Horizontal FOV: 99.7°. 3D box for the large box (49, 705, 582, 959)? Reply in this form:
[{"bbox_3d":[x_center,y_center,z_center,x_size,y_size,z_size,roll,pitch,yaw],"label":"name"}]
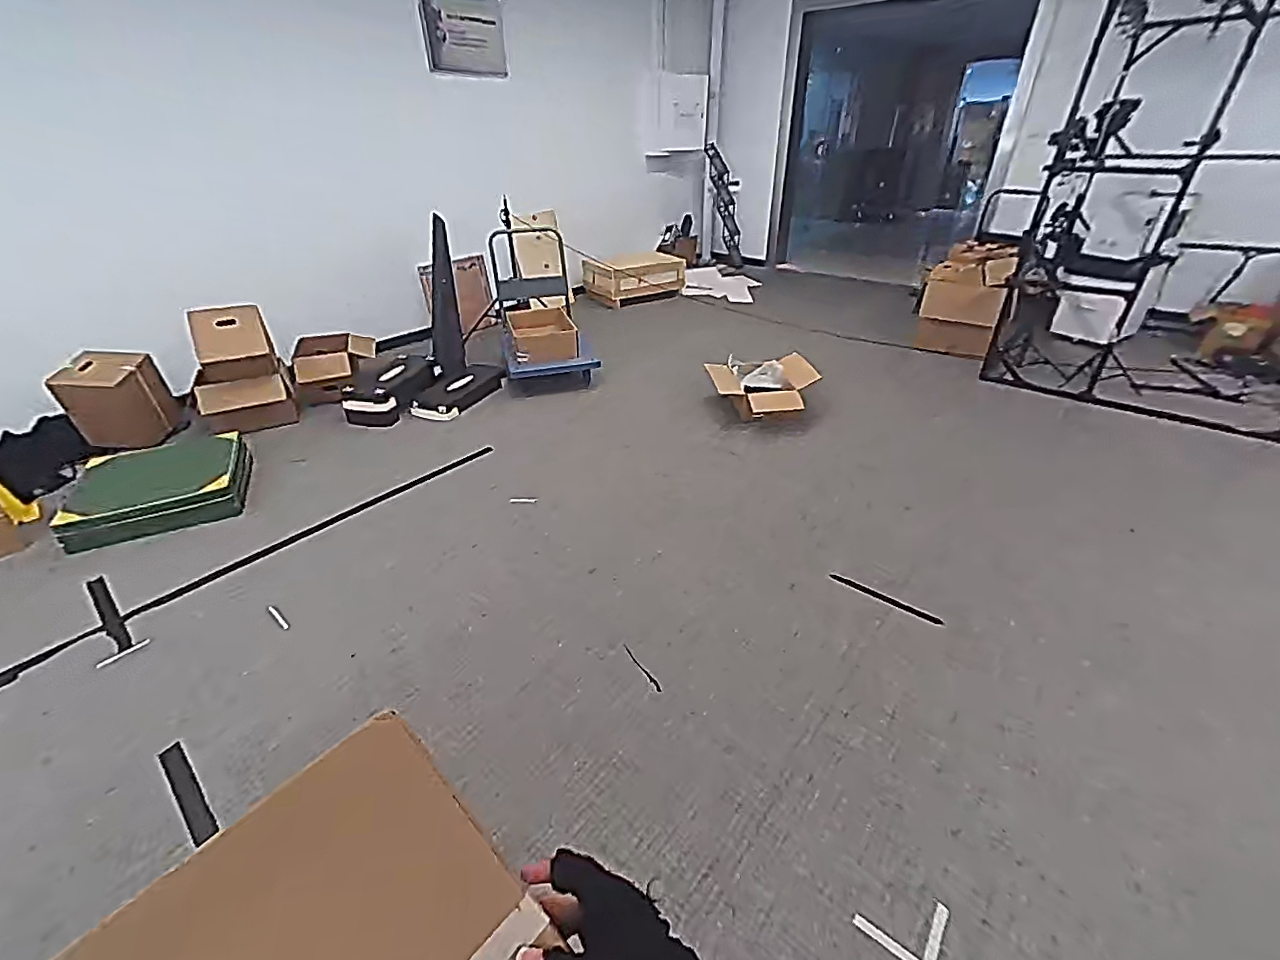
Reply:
[{"bbox_3d":[-0.252,0.432,0.358,0.408,0.320,0.320,-35,79,-33],"label":"large box"}]
